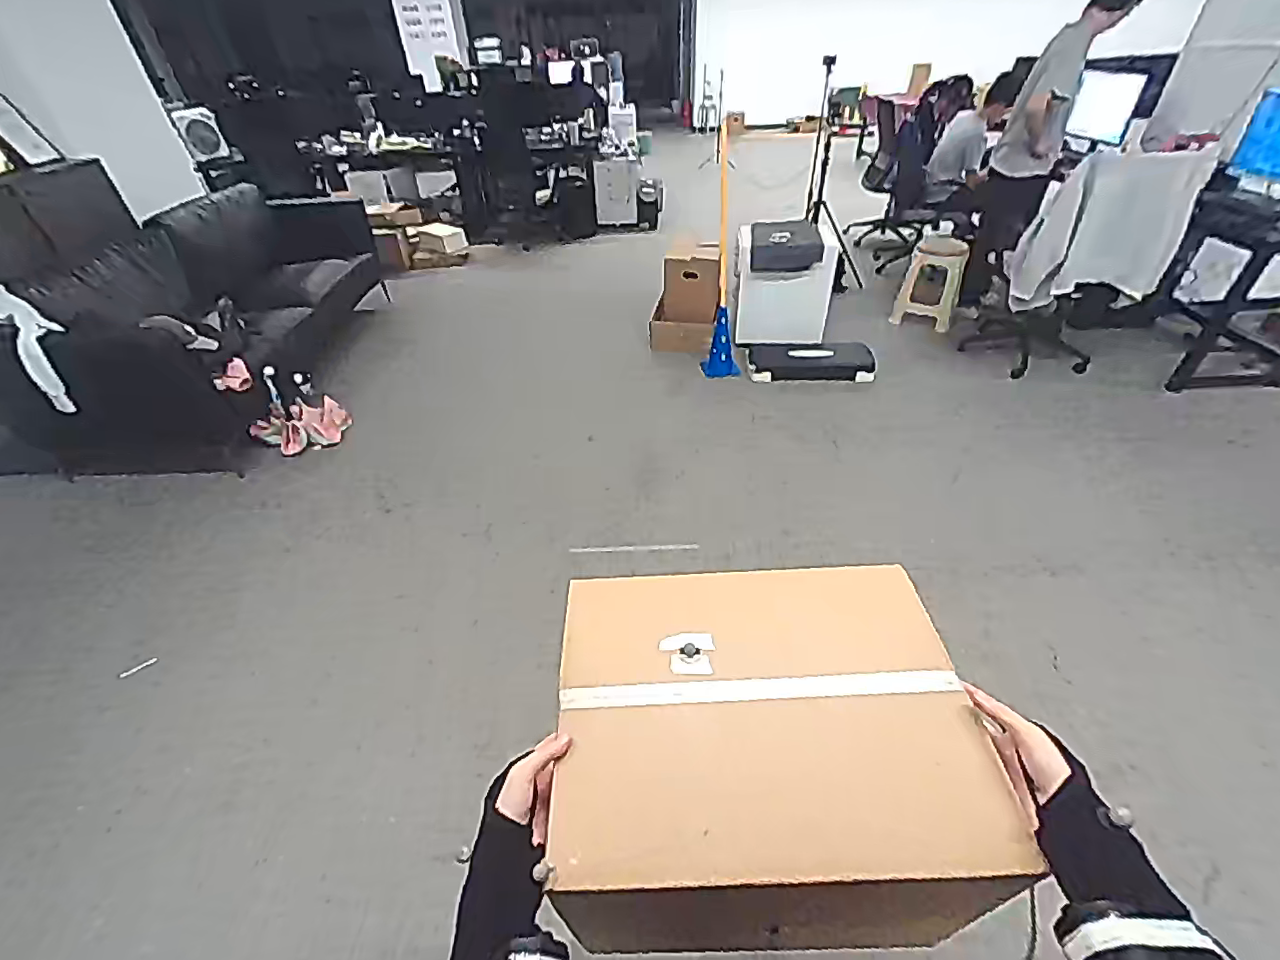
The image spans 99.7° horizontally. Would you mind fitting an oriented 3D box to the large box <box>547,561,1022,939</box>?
[{"bbox_3d":[0.126,0.327,0.656,0.408,0.320,0.320,-4,41,2],"label":"large box"}]
